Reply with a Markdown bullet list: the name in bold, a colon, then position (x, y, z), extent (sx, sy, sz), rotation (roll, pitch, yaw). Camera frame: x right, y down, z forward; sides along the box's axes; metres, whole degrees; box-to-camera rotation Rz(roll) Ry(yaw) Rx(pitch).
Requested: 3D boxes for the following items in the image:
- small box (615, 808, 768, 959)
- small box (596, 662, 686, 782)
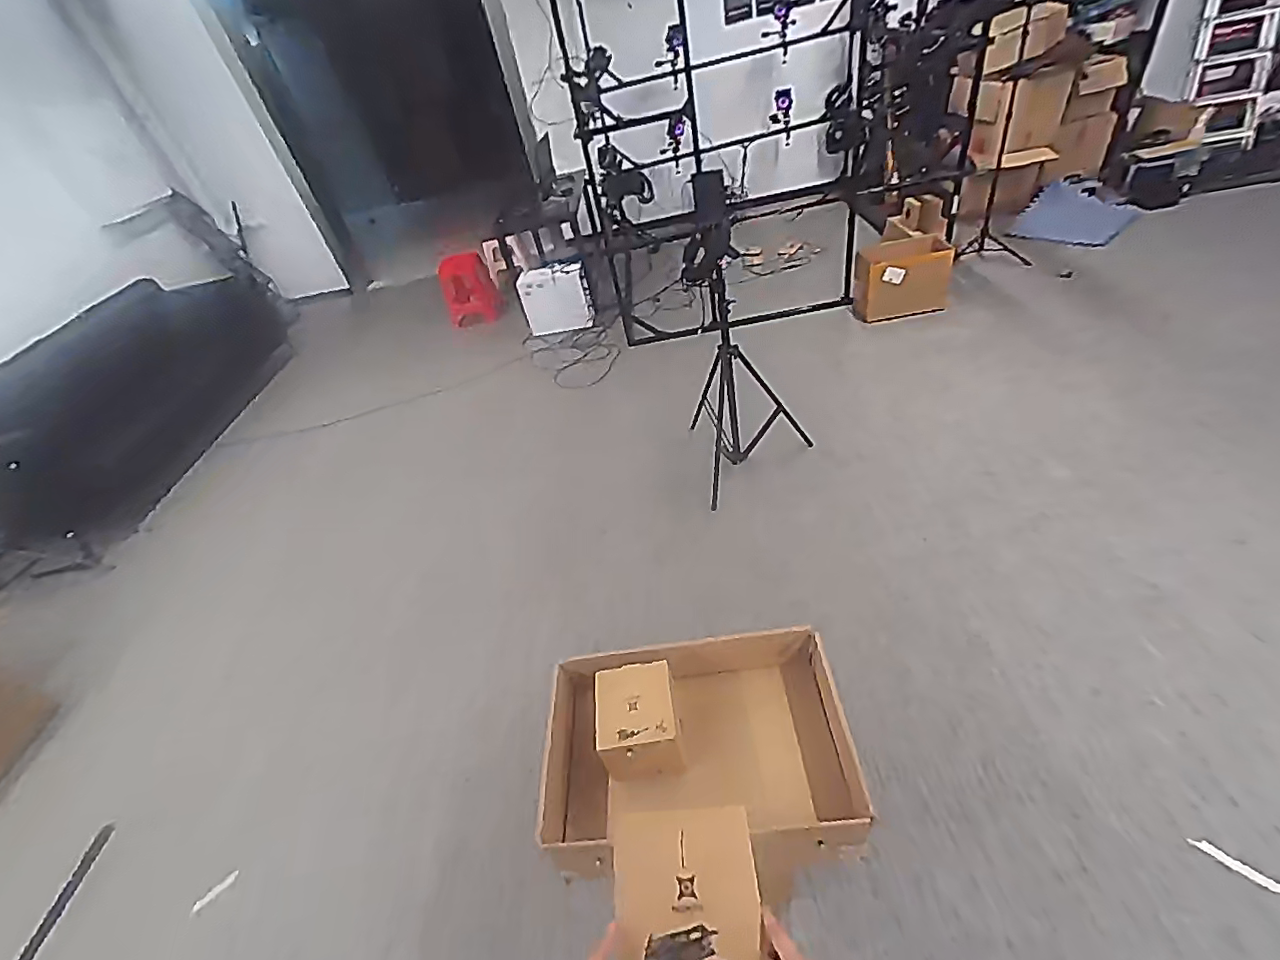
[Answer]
- **small box**: position (0.061, 0.531, 0.669), extent (0.168, 0.176, 0.179), rotation (-6, 45, 2)
- **small box**: position (0.003, 0.534, 1.192), extent (0.168, 0.176, 0.179), rotation (-11, 40, 5)
